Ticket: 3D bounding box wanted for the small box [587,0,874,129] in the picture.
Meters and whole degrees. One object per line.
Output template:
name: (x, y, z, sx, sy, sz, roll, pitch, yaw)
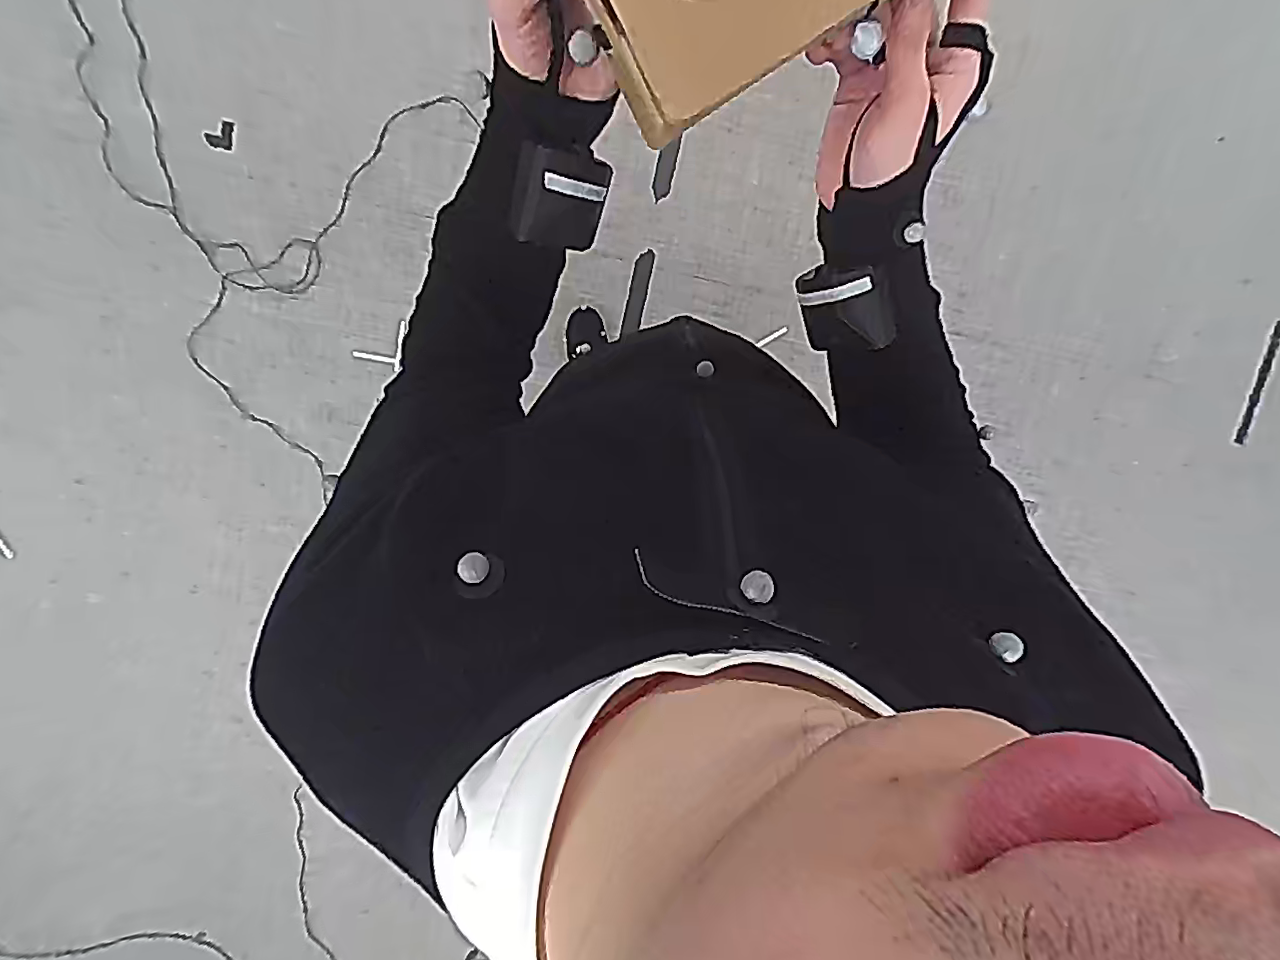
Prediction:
small box: (0.043, -0.263, 0.204, 0.179, 0.176, 0.168, -27, 118, 13)
